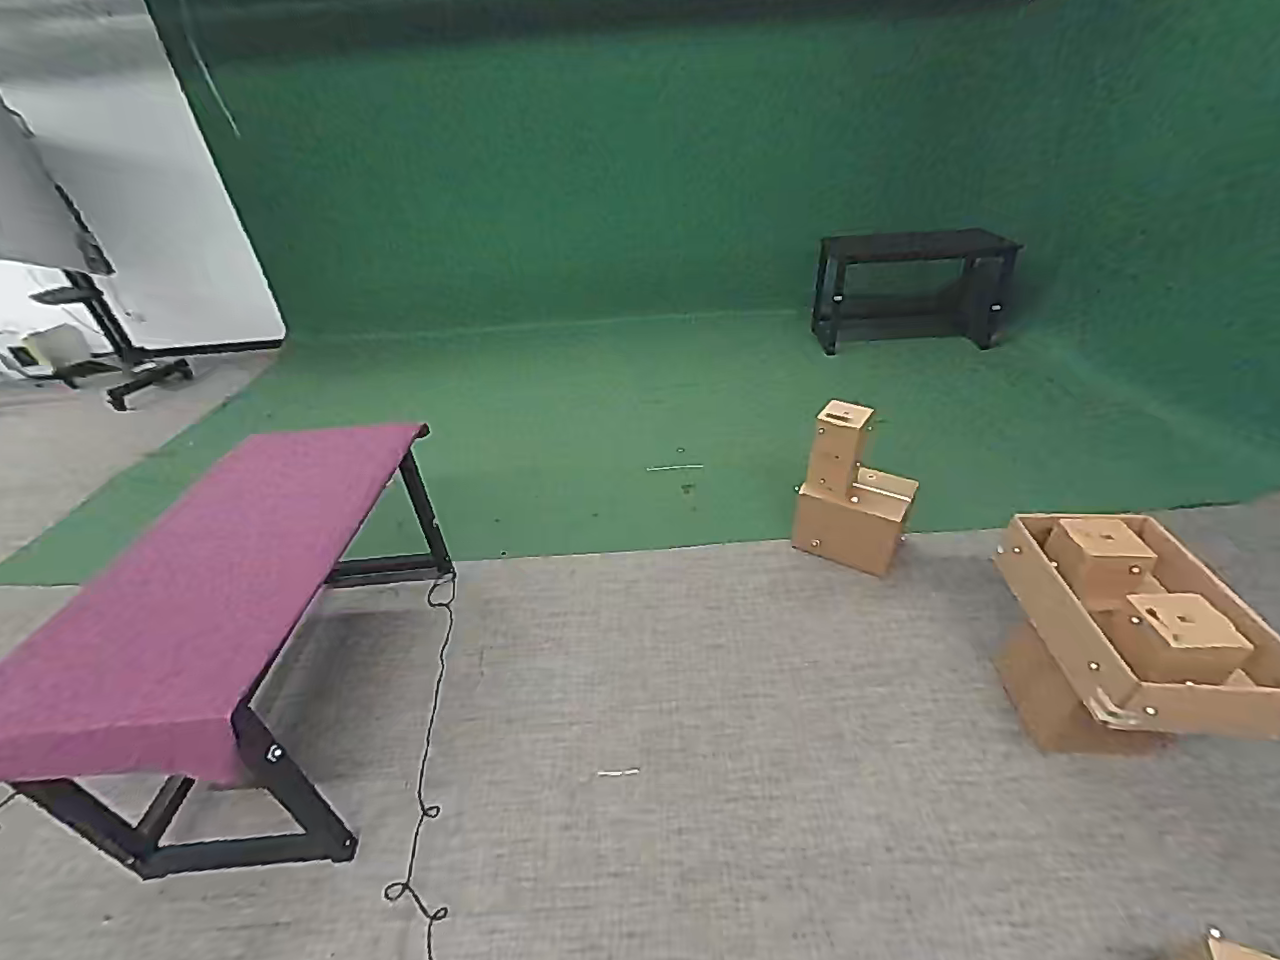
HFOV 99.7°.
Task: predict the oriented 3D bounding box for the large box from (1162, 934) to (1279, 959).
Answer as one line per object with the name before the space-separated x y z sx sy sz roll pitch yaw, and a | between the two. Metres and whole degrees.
large box | 1.161 1.133 0.931 0.320 0.320 0.408 11 37 19

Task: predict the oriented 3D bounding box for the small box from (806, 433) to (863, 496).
small box | 0.799 -0.064 2.234 0.168 0.176 0.179 21 44 29
